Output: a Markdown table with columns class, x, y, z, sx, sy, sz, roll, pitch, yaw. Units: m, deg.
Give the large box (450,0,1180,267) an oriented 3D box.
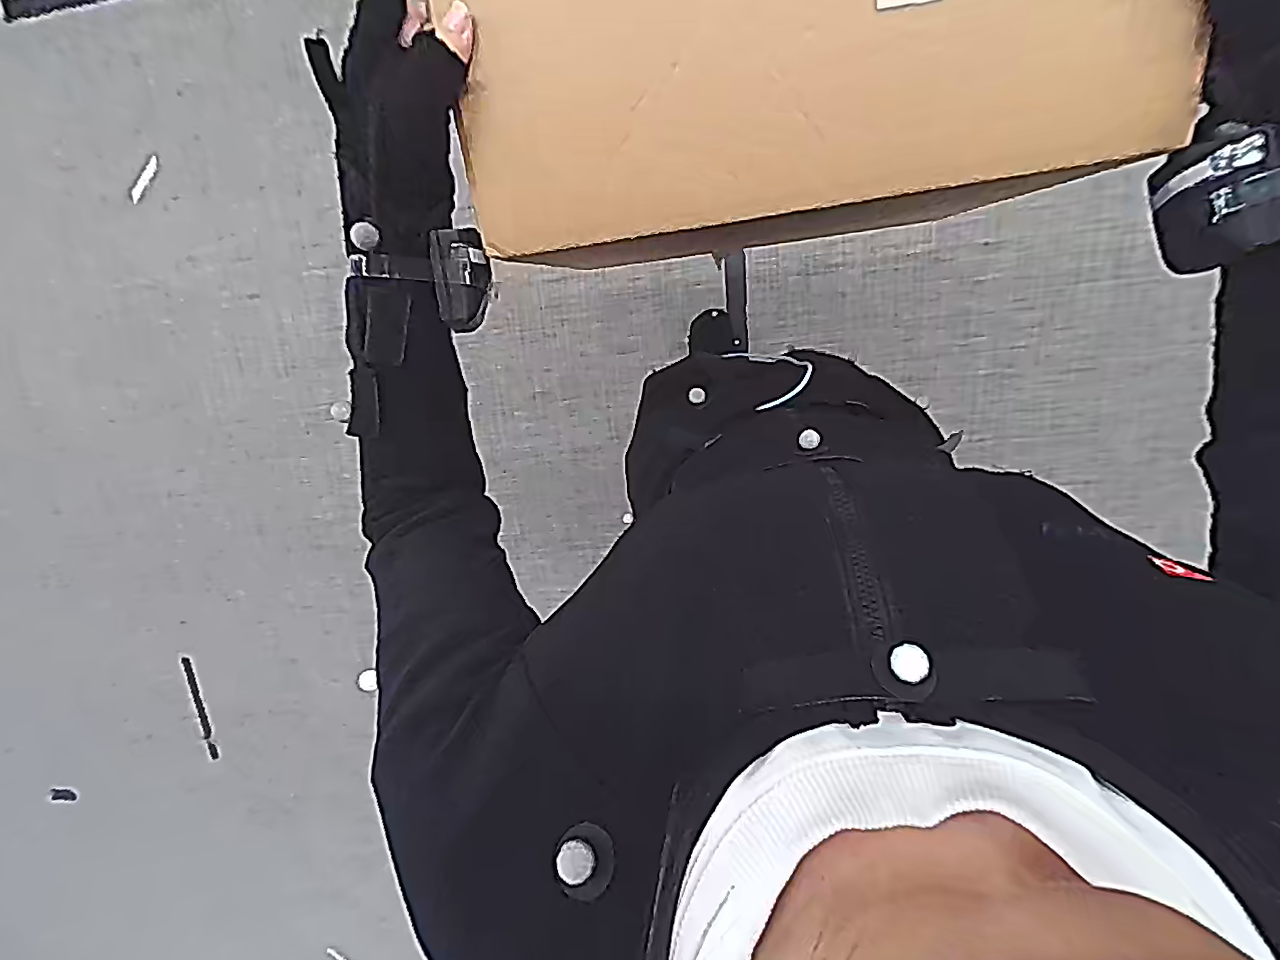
| class | x | y | z | sx | sy | sz | roll | pitch | yaw |
| --- | --- | --- | --- | --- | --- | --- | --- | --- | --- |
| large box | 0.092 | -0.368 | 0.427 | 0.408 | 0.320 | 0.320 | -6 | 109 | 8 |
